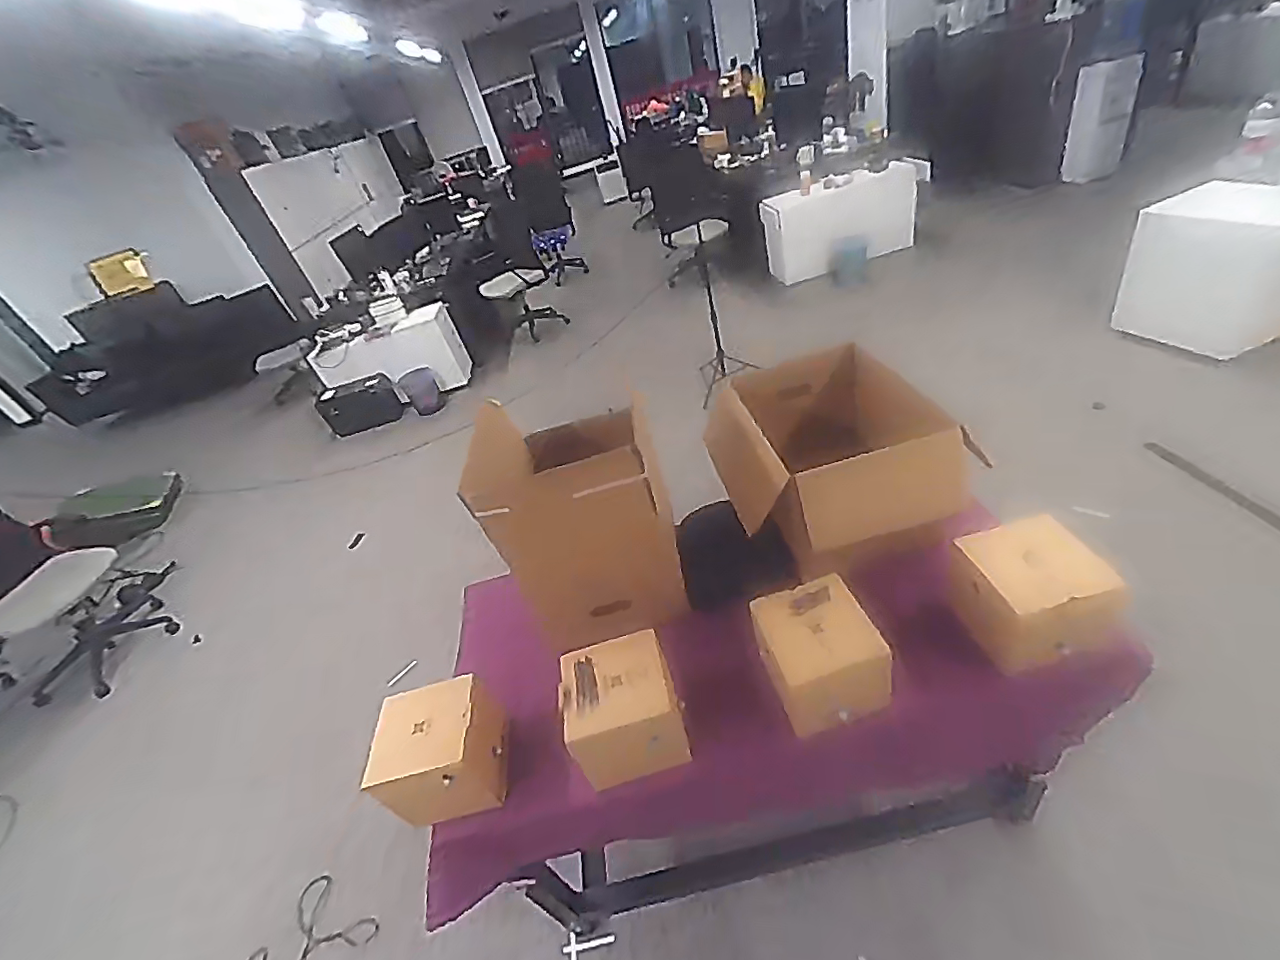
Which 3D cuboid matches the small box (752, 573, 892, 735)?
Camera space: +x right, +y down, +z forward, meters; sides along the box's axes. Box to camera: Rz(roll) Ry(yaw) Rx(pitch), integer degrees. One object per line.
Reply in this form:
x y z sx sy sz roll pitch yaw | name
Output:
0.307 0.297 0.926 0.168 0.176 0.179 -19 37 0 | small box

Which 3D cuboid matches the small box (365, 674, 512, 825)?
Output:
-0.349 0.487 0.971 0.179 0.176 0.168 -16 36 2 | small box

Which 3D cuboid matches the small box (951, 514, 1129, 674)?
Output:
0.650 0.190 0.908 0.168 0.176 0.179 -17 35 4 | small box
